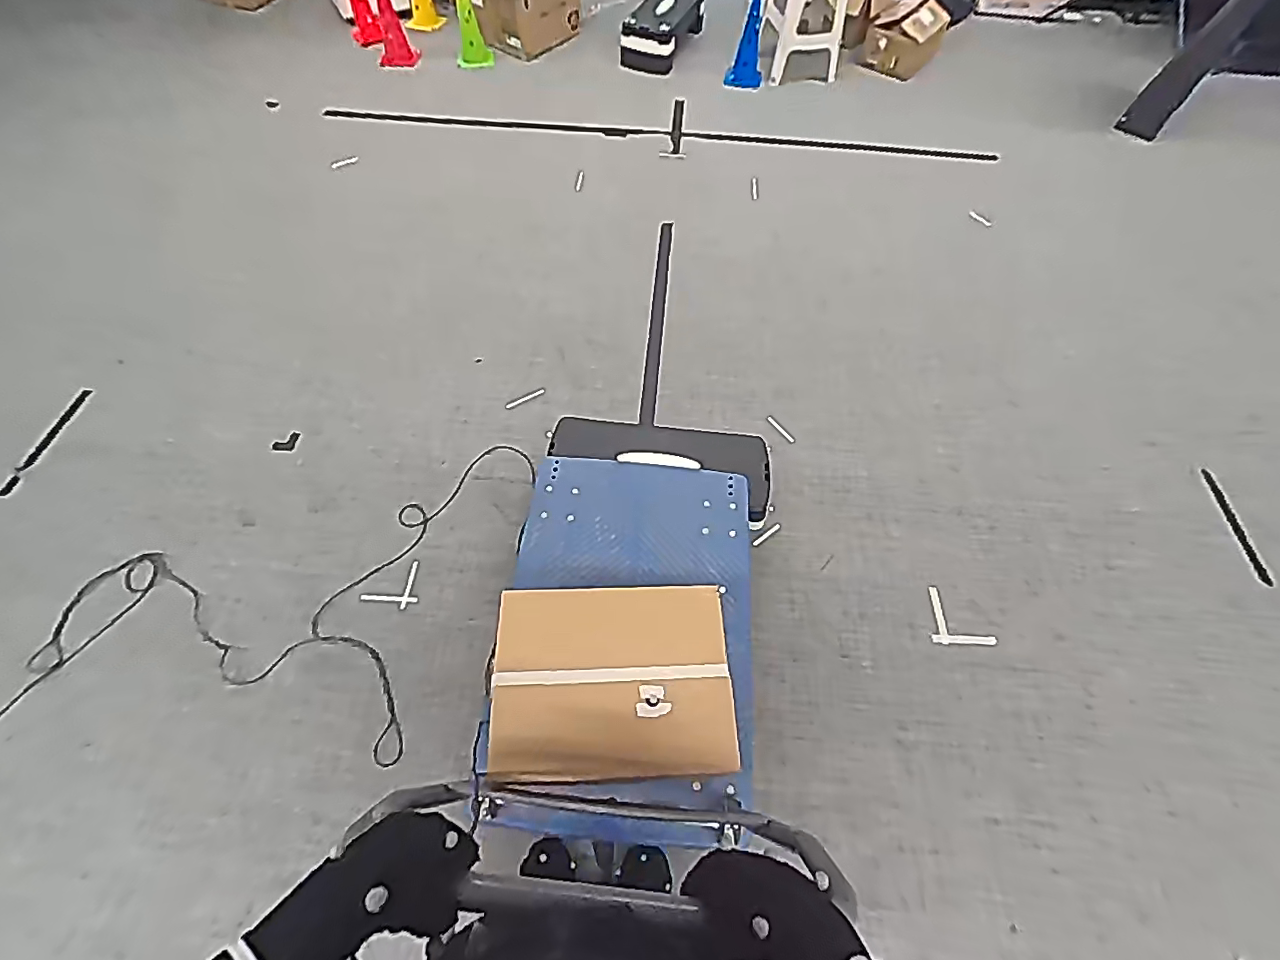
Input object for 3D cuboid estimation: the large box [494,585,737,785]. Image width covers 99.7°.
[{"bbox_3d":[-0.055,0.414,1.075,0.408,0.320,0.320,0,60,-4],"label":"large box"}]
